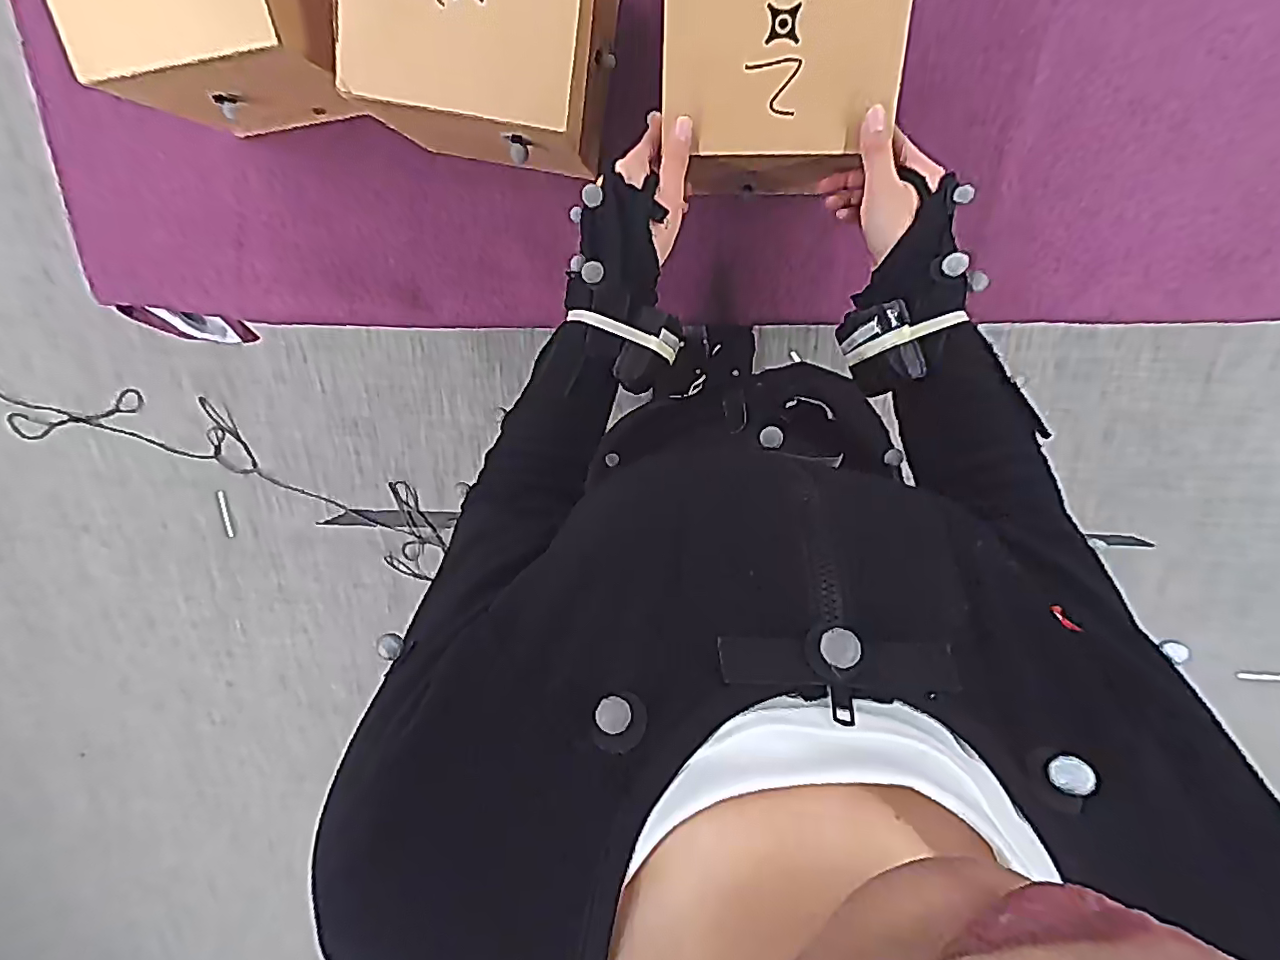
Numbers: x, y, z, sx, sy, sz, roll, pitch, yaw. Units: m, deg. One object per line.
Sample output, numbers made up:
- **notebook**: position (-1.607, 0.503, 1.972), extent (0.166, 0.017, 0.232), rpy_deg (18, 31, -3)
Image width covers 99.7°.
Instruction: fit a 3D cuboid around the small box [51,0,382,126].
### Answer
- **small box**: position (-0.347, -0.419, 0.448), extent (0.168, 0.176, 0.179), rpy_deg (-7, 108, 6)
